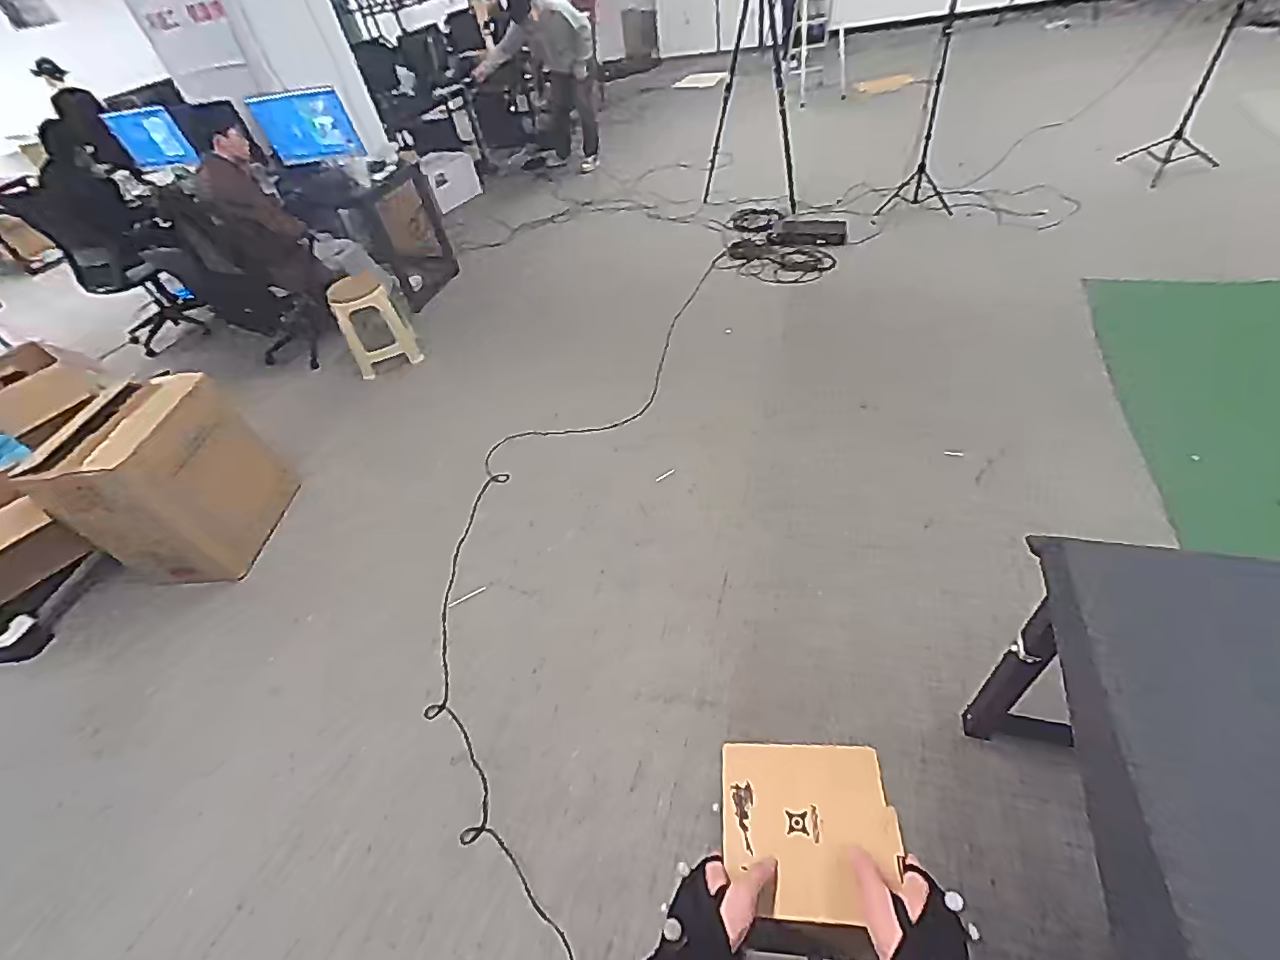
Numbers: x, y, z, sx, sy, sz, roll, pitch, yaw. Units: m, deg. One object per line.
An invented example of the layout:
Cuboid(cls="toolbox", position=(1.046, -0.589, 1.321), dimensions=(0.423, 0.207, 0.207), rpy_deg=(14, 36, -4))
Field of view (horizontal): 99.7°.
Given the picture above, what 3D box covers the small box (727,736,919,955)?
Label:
Cuboid(cls="small box", position=(0.191, 0.415, 0.616), dimensions=(0.179, 0.176, 0.168), rpy_deg=(-2, 41, 11))
